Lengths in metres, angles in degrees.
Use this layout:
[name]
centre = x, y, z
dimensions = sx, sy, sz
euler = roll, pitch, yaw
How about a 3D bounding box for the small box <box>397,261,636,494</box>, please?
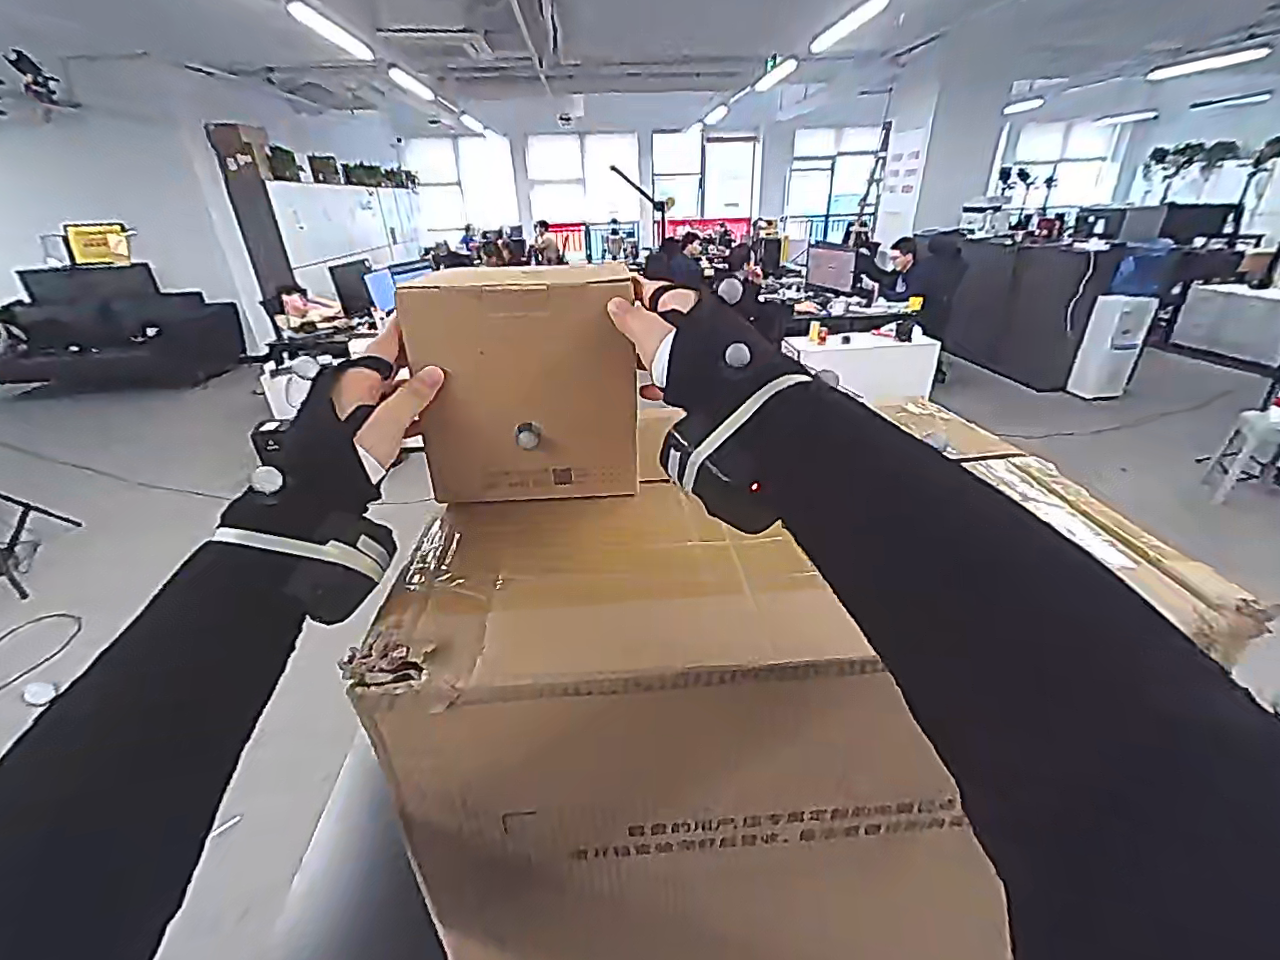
[small box]
centre = -0.091, -0.099, 0.482
dimensions = 0.168, 0.176, 0.179
euler = -3, 25, -3
